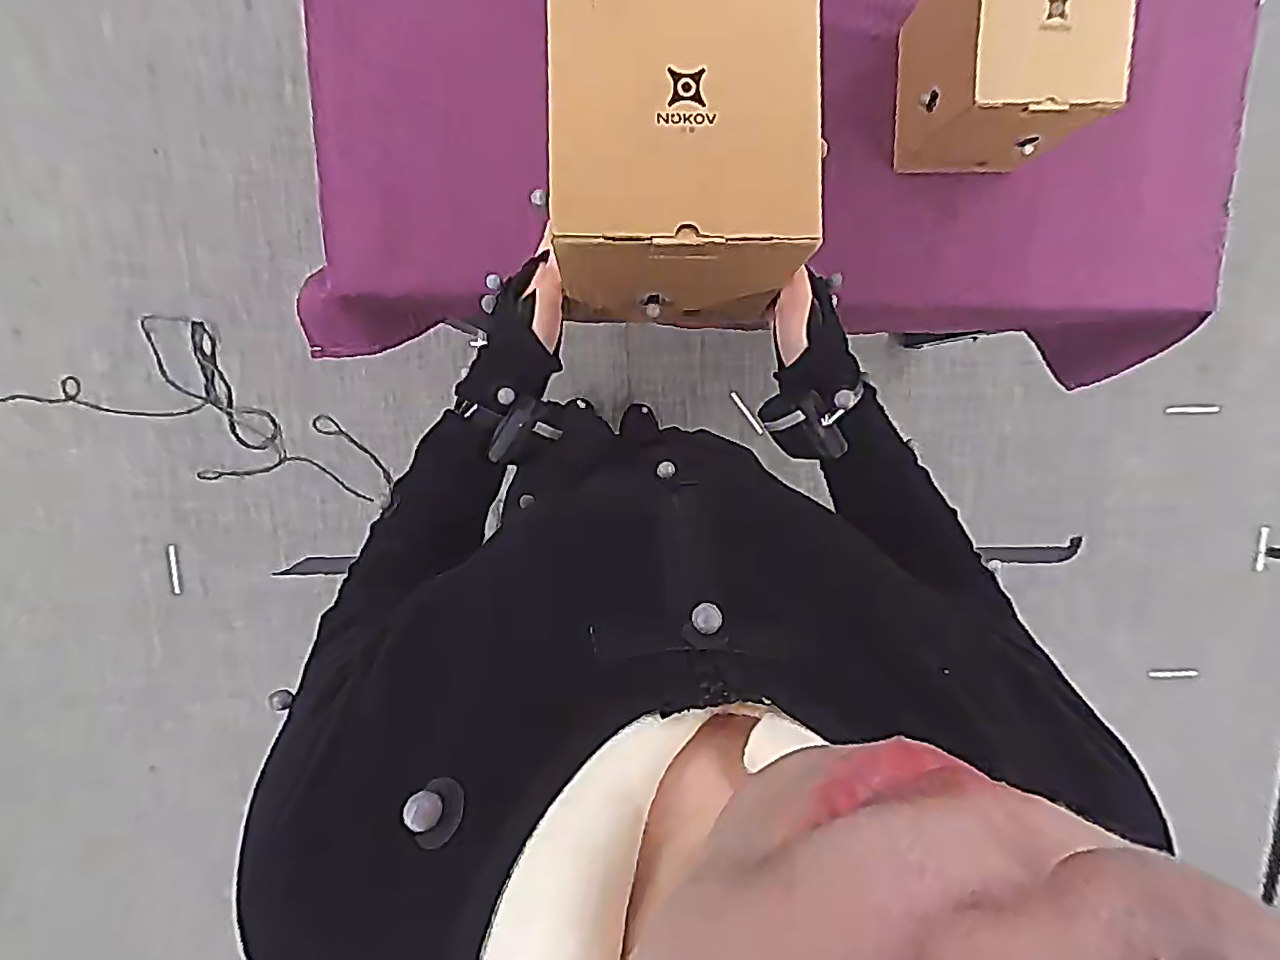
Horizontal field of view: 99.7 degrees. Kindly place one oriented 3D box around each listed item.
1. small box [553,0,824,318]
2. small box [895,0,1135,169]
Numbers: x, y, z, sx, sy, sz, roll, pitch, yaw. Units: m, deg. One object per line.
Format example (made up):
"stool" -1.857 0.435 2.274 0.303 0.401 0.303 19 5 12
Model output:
"small box" 0.024 -0.233 0.403 0.168 0.176 0.179 -1 91 -3
"small box" 0.417 -0.484 0.627 0.168 0.176 0.179 -1 98 -2
